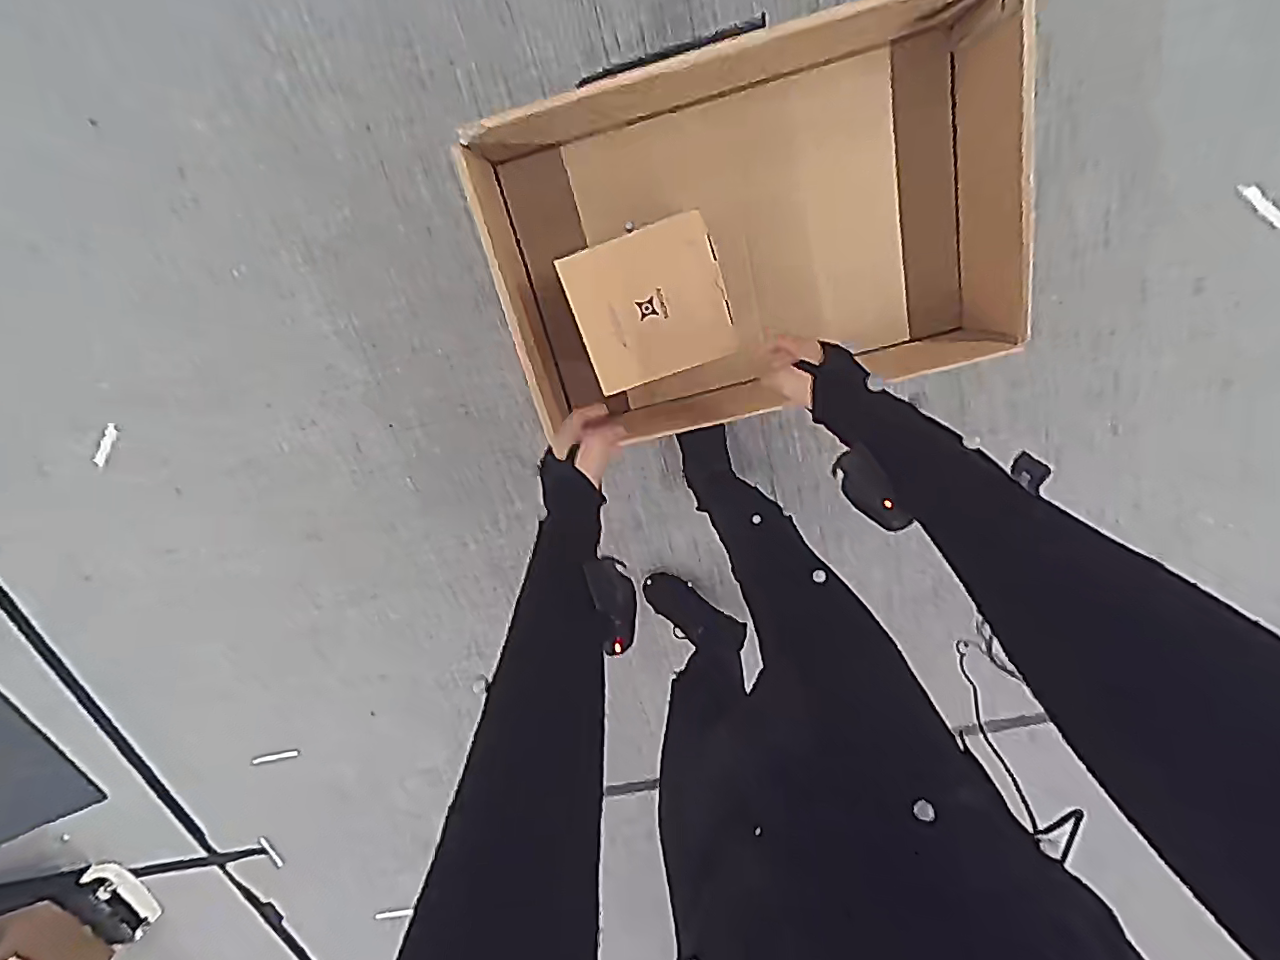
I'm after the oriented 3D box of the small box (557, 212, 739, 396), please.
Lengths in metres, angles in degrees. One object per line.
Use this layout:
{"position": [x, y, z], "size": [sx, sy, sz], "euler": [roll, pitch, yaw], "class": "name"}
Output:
{"position": [0.013, -0.227, 0.699], "size": [0.179, 0.176, 0.168], "euler": [-17, 110, 8], "class": "small box"}
